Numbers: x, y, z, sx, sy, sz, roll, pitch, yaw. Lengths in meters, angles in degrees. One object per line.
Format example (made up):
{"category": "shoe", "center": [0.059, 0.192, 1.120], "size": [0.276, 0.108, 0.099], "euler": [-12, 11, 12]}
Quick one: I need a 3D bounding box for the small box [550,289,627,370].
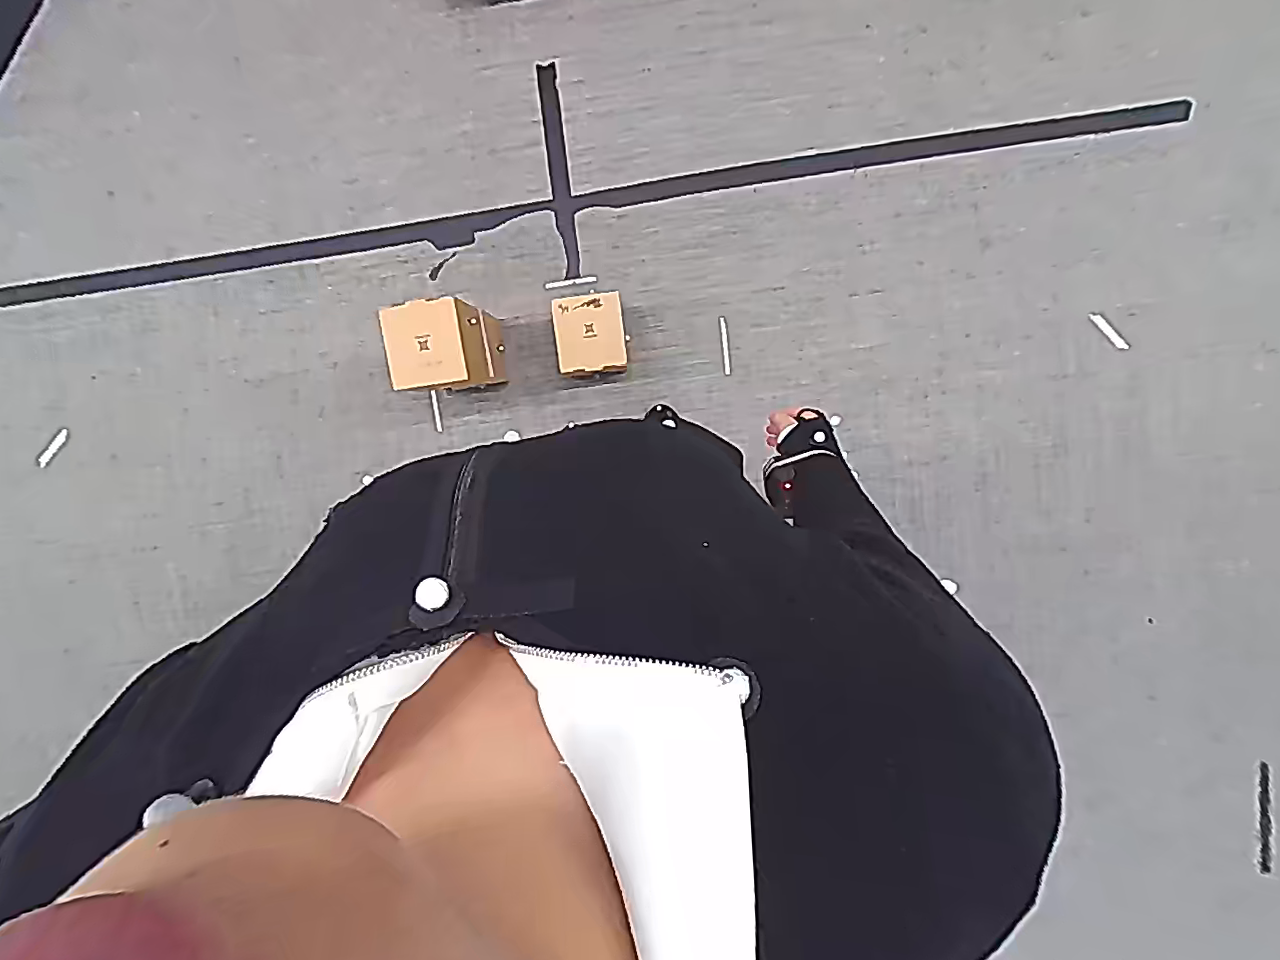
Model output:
{"category": "small box", "center": [-0.124, -0.373, 1.372], "size": [0.168, 0.176, 0.179], "euler": [-6, 99, 1]}

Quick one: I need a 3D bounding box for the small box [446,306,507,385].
{"category": "small box", "center": [-0.449, -0.337, 1.377], "size": [0.179, 0.176, 0.168], "euler": [-9, 98, 2]}

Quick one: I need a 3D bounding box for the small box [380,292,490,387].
{"category": "small box", "center": [-0.452, -0.309, 1.217], "size": [0.168, 0.176, 0.179], "euler": [-8, 99, 3]}
